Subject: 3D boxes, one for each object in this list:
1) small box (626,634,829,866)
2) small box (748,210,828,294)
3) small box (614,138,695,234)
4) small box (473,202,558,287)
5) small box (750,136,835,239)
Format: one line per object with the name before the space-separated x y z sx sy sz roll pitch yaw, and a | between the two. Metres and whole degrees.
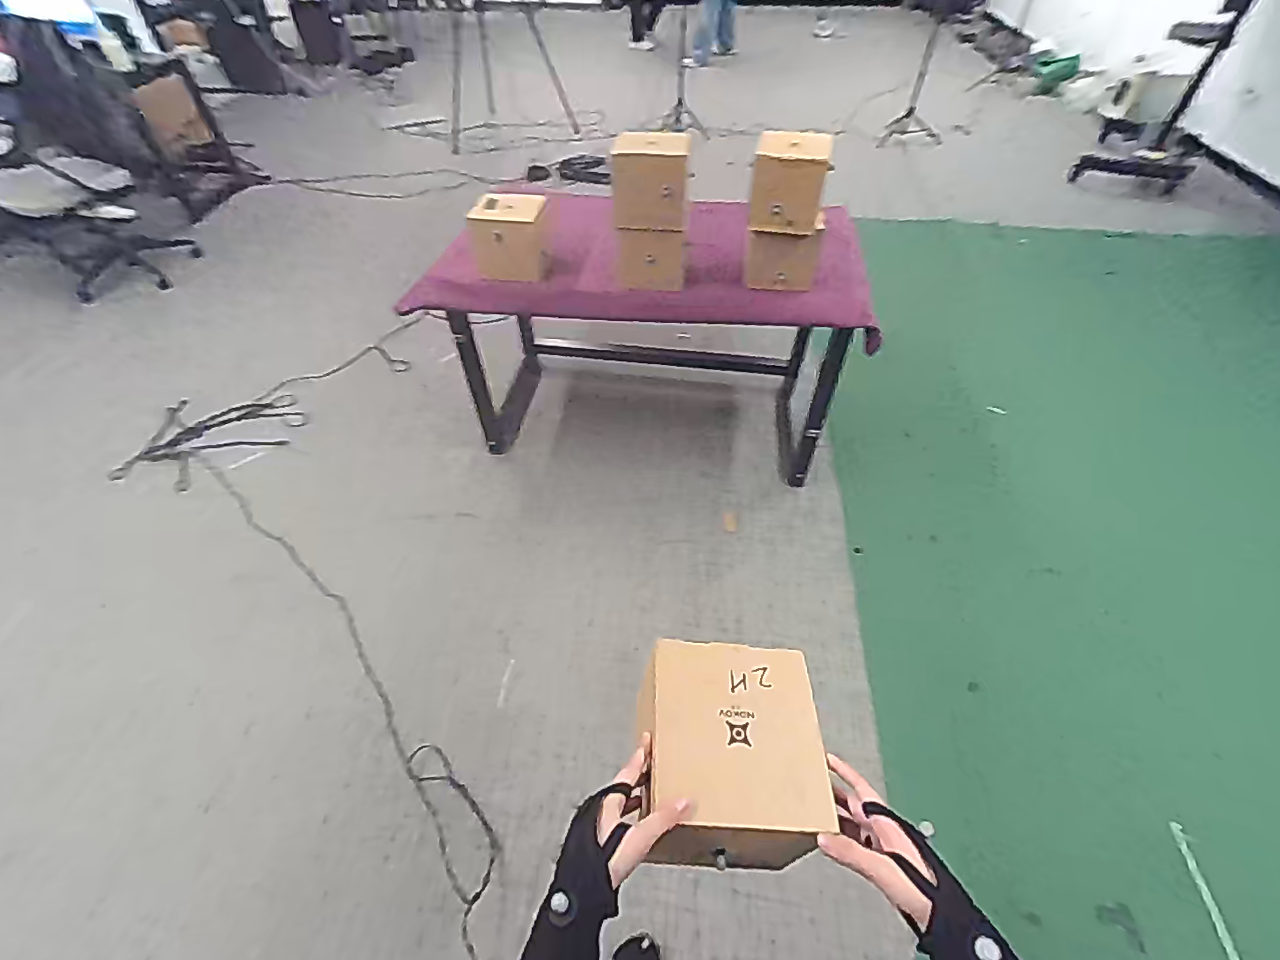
small box | 0.076 0.289 0.575 0.168 0.176 0.179 6 43 -4
small box | 0.387 -0.612 1.441 0.179 0.176 0.168 5 47 6
small box | 0.039 -0.719 1.327 0.179 0.176 0.168 5 47 7
small box | -0.335 -0.650 1.495 0.179 0.176 0.168 5 48 5
small box | 0.366 -0.709 1.309 0.168 0.176 0.179 10 50 12
